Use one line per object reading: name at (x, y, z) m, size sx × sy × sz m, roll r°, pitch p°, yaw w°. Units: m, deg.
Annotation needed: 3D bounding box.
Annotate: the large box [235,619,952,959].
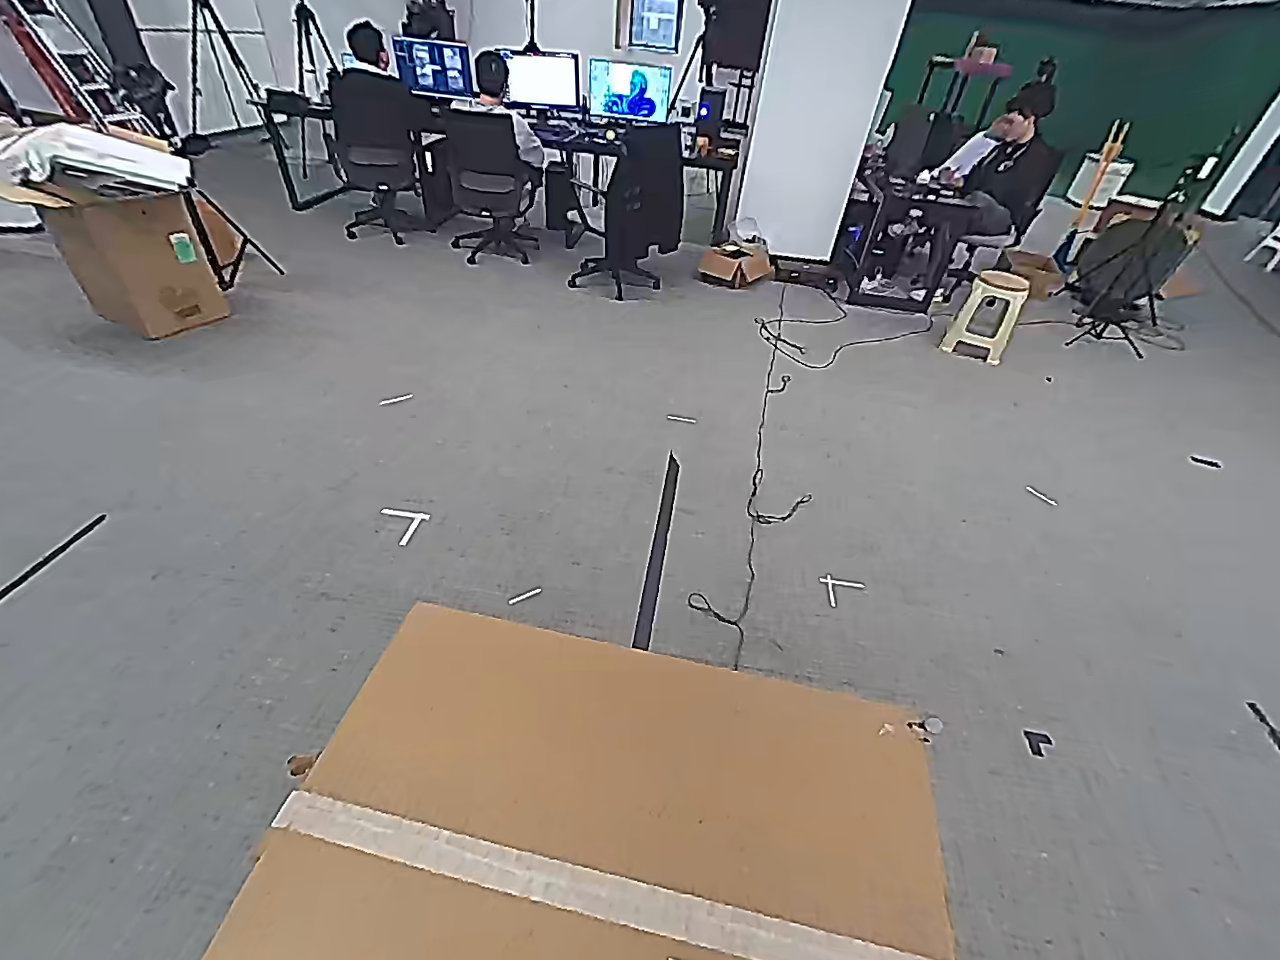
large box at (-0.025, 0.357, 0.430) m, size 0.408 × 0.320 × 0.320 m, roll 10°, pitch 46°, yaw 6°
